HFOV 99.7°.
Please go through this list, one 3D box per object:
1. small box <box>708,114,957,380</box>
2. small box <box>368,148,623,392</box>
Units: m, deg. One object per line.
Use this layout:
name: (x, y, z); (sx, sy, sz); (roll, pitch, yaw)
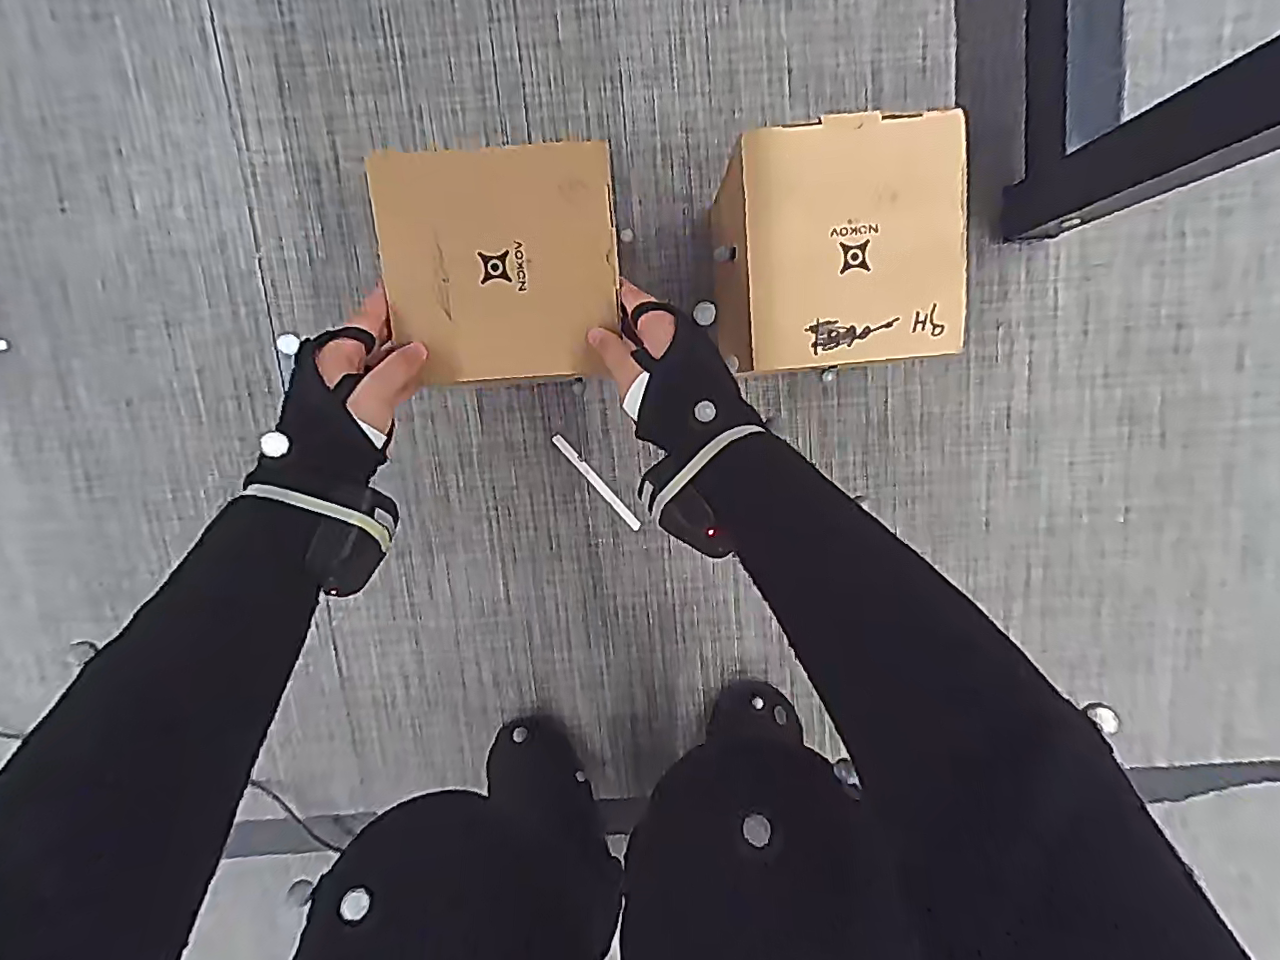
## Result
small box: (0.157, -0.189, 0.489); (0.168, 0.176, 0.179); (-5, 98, 1)
small box: (-0.108, -0.169, 0.486); (0.179, 0.176, 0.168); (-5, 98, 1)
